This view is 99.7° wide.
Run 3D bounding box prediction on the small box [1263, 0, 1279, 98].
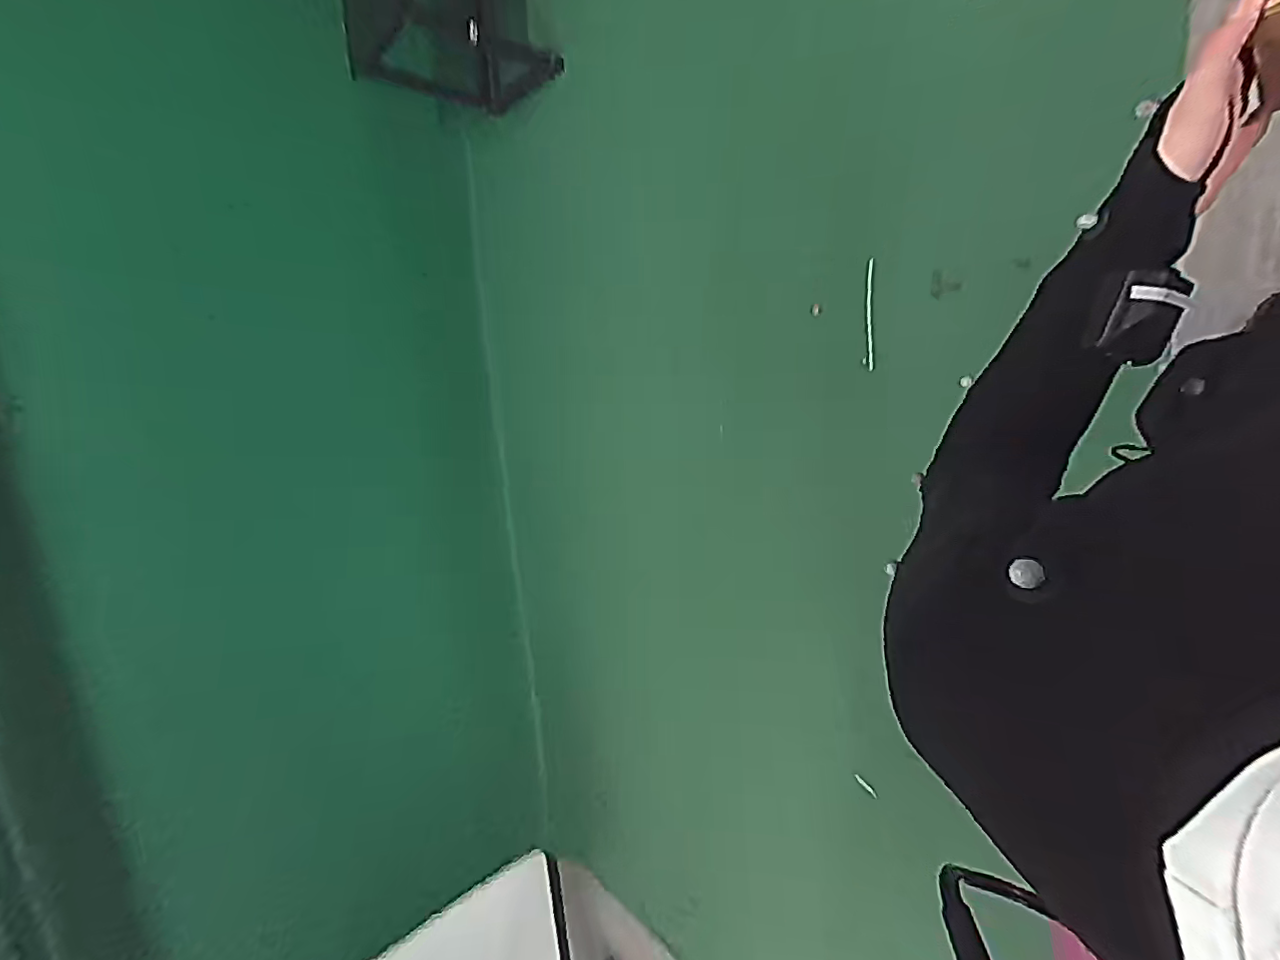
[{"bbox_3d":[0.499,-0.373,0.312,0.179,0.176,0.168,2,95,49],"label":"small box"}]
